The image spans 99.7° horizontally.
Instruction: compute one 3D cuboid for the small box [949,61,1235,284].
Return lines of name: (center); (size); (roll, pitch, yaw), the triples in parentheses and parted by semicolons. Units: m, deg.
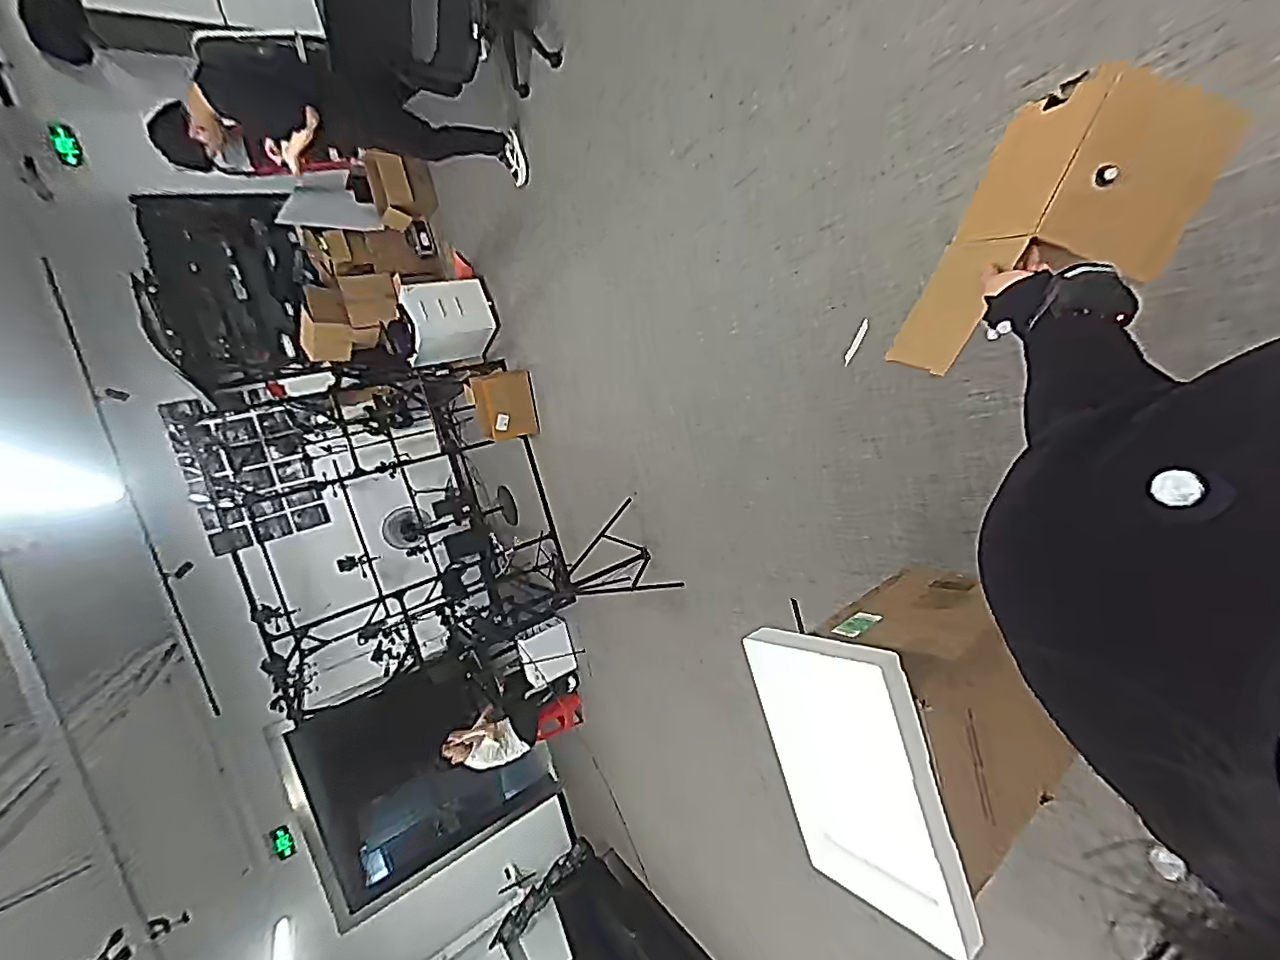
small box: (0.533, -0.351, 0.656); (0.168, 0.176, 0.179); (-99, 29, -69)
